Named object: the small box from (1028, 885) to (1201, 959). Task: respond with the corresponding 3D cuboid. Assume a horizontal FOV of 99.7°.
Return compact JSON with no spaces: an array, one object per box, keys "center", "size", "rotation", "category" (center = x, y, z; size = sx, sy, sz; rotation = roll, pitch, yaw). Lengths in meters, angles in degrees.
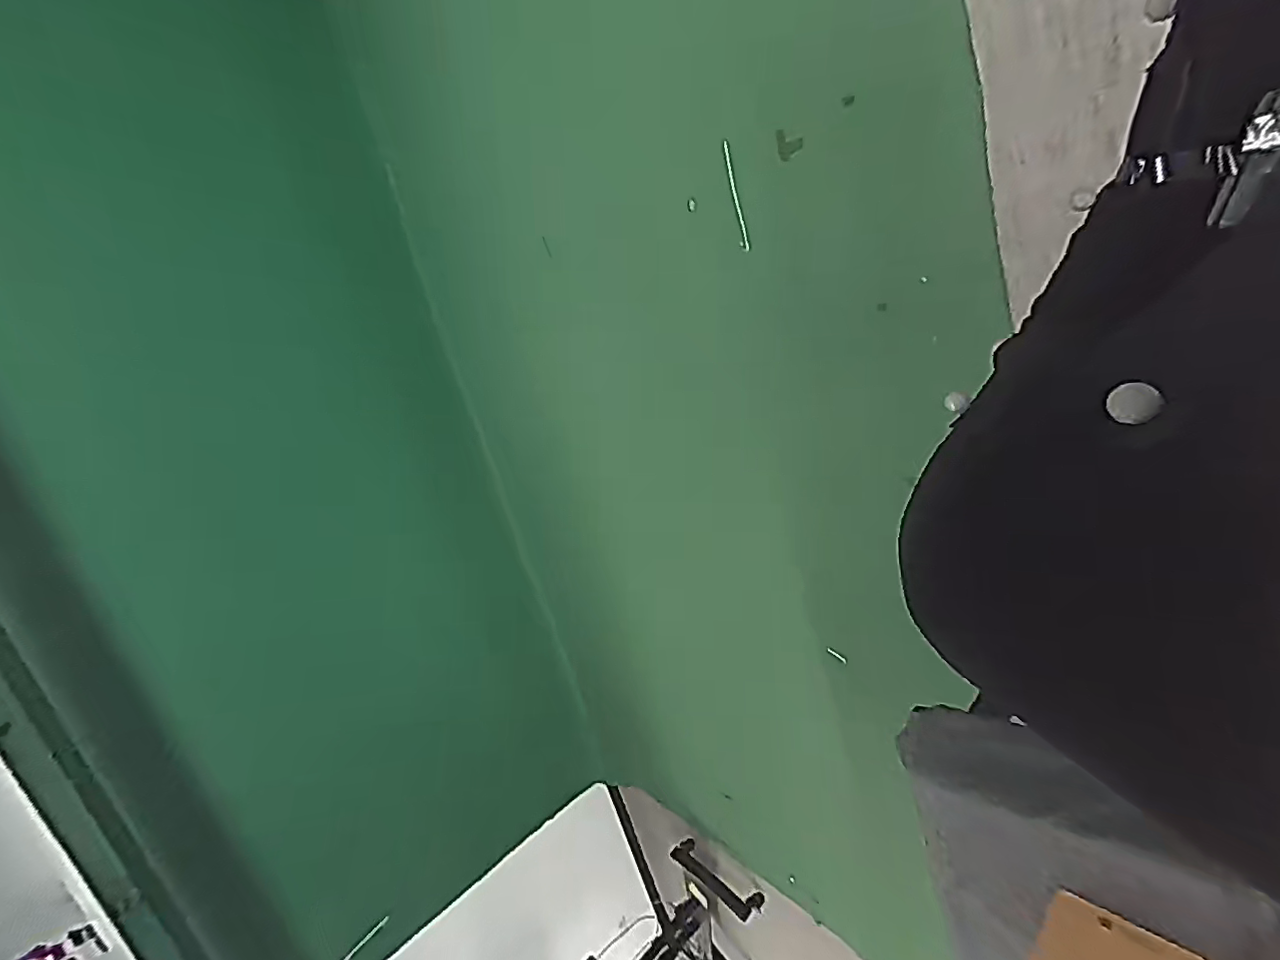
[{"center":[0.661,0.730,0.749],"size":[0.168,0.176,0.179],"rotation":[2,114,50],"category":"small box"}]
